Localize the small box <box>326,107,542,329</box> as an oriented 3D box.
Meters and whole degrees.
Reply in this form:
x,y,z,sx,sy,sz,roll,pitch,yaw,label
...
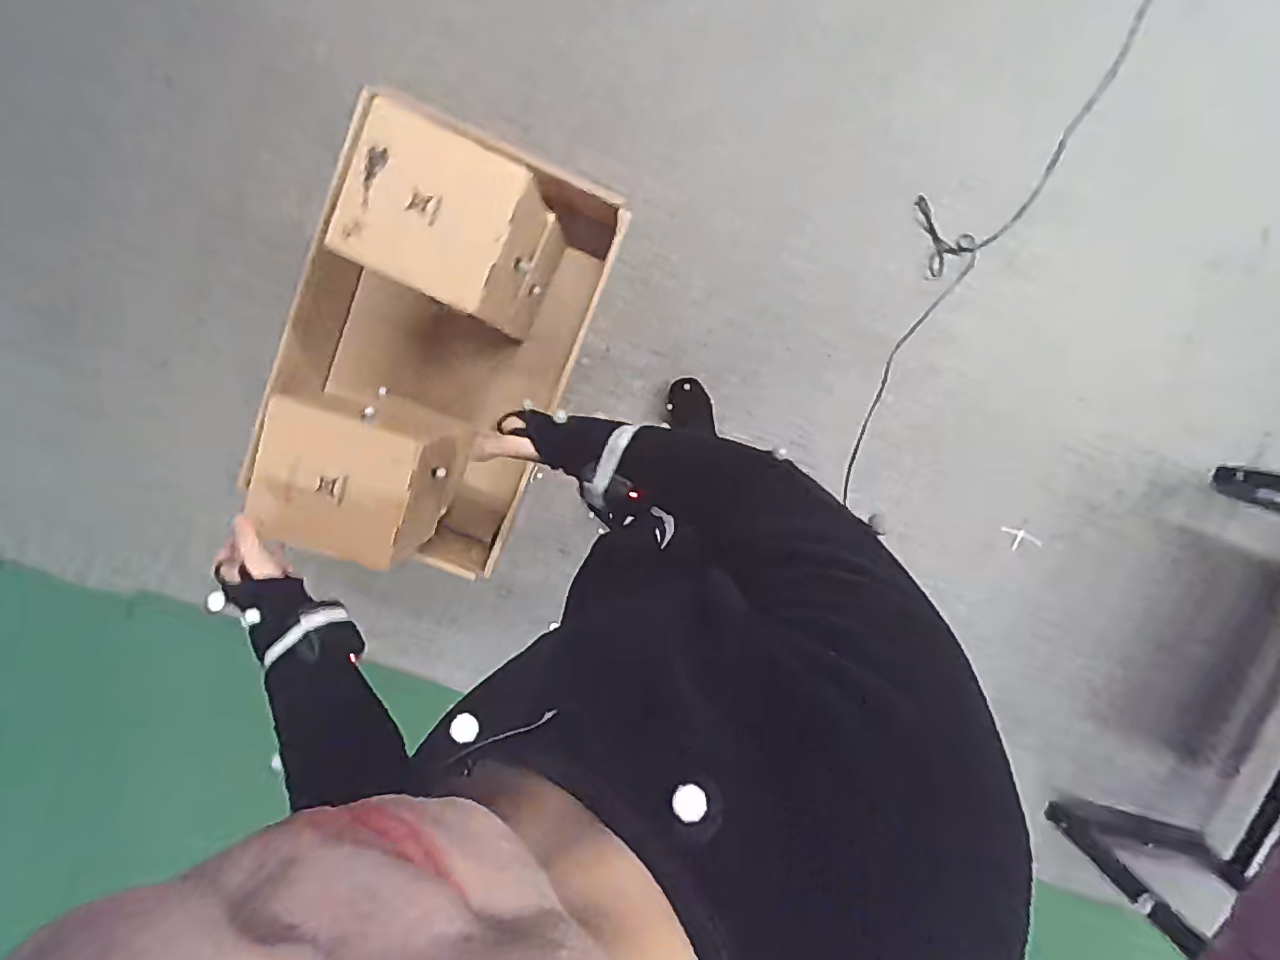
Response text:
x,y,z,sx,sy,sz,roll,pitch,yaw,label
-0.234,-0.298,0.664,0.179,0.176,0.168,25,96,-7,small box

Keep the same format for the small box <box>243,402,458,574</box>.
x,y,z,sx,sy,sz,roll,pitch,yaw,label
-0.361,-0.001,0.709,0.179,0.176,0.168,19,98,-4,small box
